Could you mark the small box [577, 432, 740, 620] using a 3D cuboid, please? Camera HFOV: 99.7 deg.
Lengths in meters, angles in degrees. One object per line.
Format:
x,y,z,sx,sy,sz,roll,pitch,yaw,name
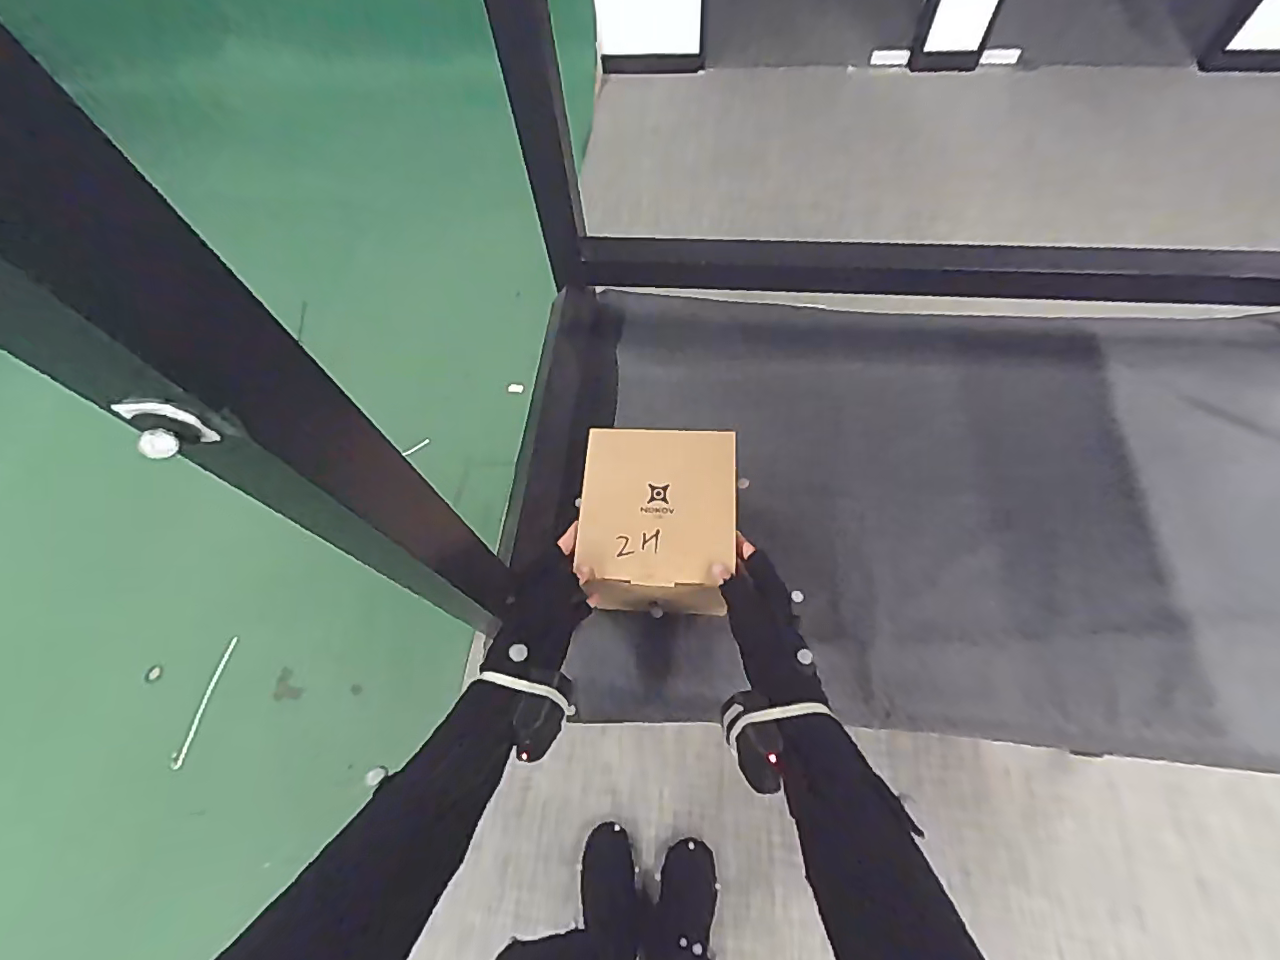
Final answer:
0.029,0.060,0.648,0.168,0.176,0.179,2,66,6,small box
